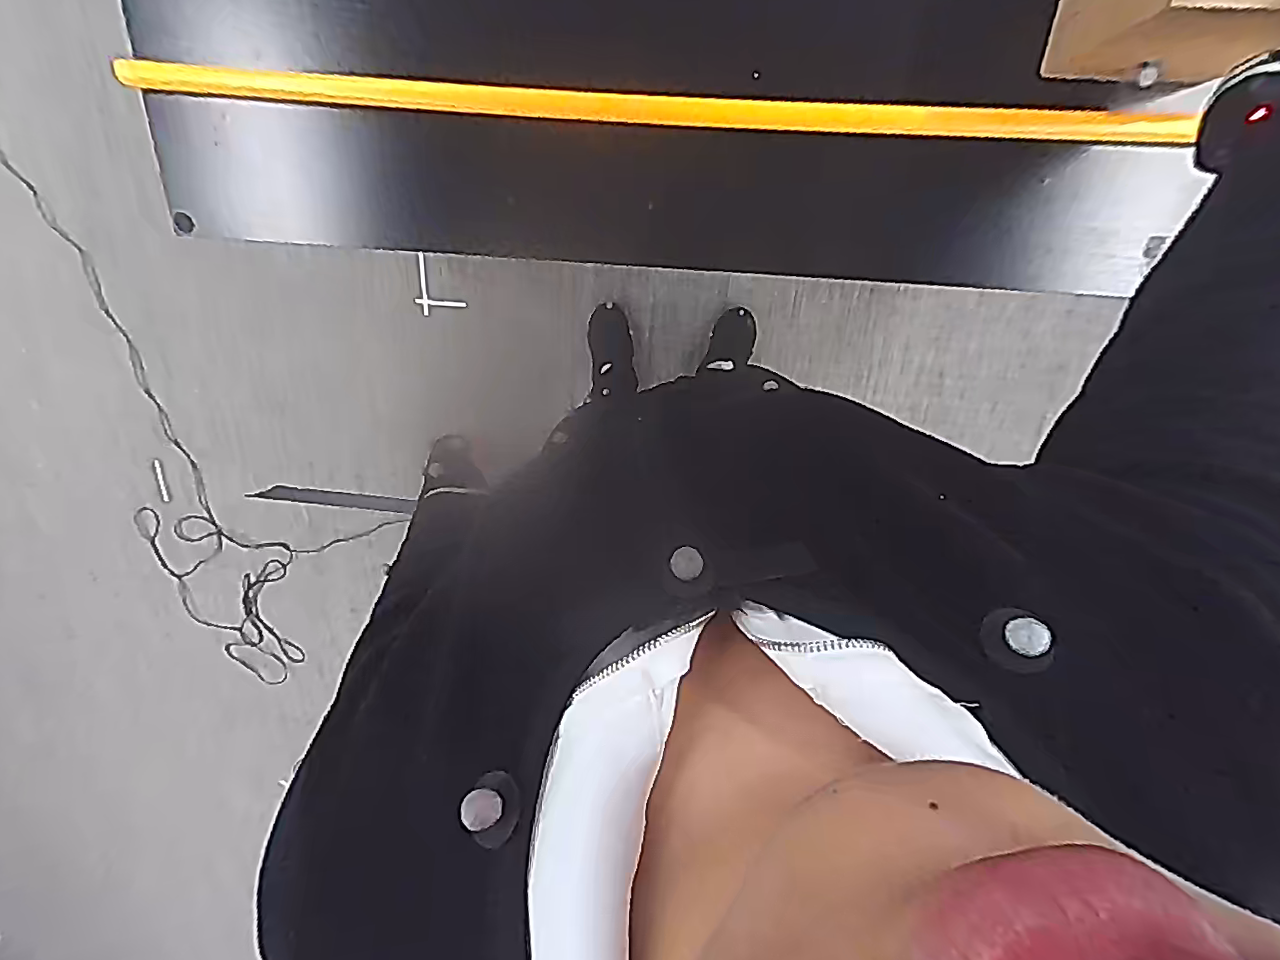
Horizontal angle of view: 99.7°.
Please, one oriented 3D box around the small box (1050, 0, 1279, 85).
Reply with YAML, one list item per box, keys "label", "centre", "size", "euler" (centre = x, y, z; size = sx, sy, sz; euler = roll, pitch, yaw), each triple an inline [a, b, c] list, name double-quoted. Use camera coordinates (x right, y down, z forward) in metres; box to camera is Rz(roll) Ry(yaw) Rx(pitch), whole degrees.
- label: "small box"
  centre: [0.497, -0.468, 0.455]
  size: [0.168, 0.176, 0.179]
  euler: [6, 112, 3]
